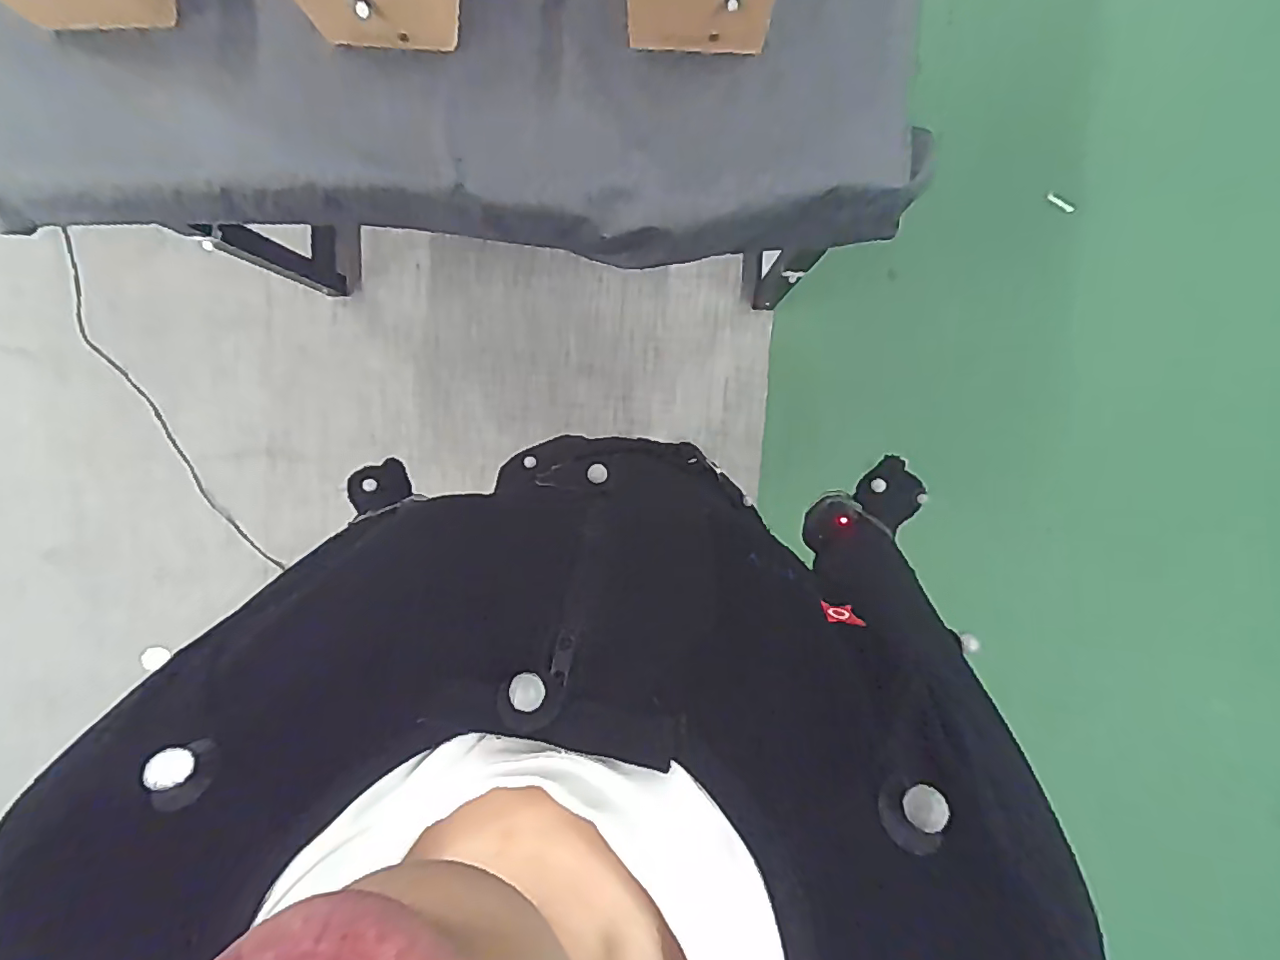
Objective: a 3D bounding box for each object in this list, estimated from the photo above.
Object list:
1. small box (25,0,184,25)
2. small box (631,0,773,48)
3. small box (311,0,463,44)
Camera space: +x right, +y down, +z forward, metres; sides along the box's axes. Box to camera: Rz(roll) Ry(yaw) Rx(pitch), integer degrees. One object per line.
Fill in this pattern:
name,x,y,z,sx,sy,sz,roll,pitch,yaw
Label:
small box,-0.674,-0.660,0.610,0.179,0.176,0.168,-1,95,1
small box,0.074,-0.621,0.592,0.168,0.176,0.179,4,94,1
small box,-0.304,-0.634,0.602,0.168,0.176,0.179,4,96,1
